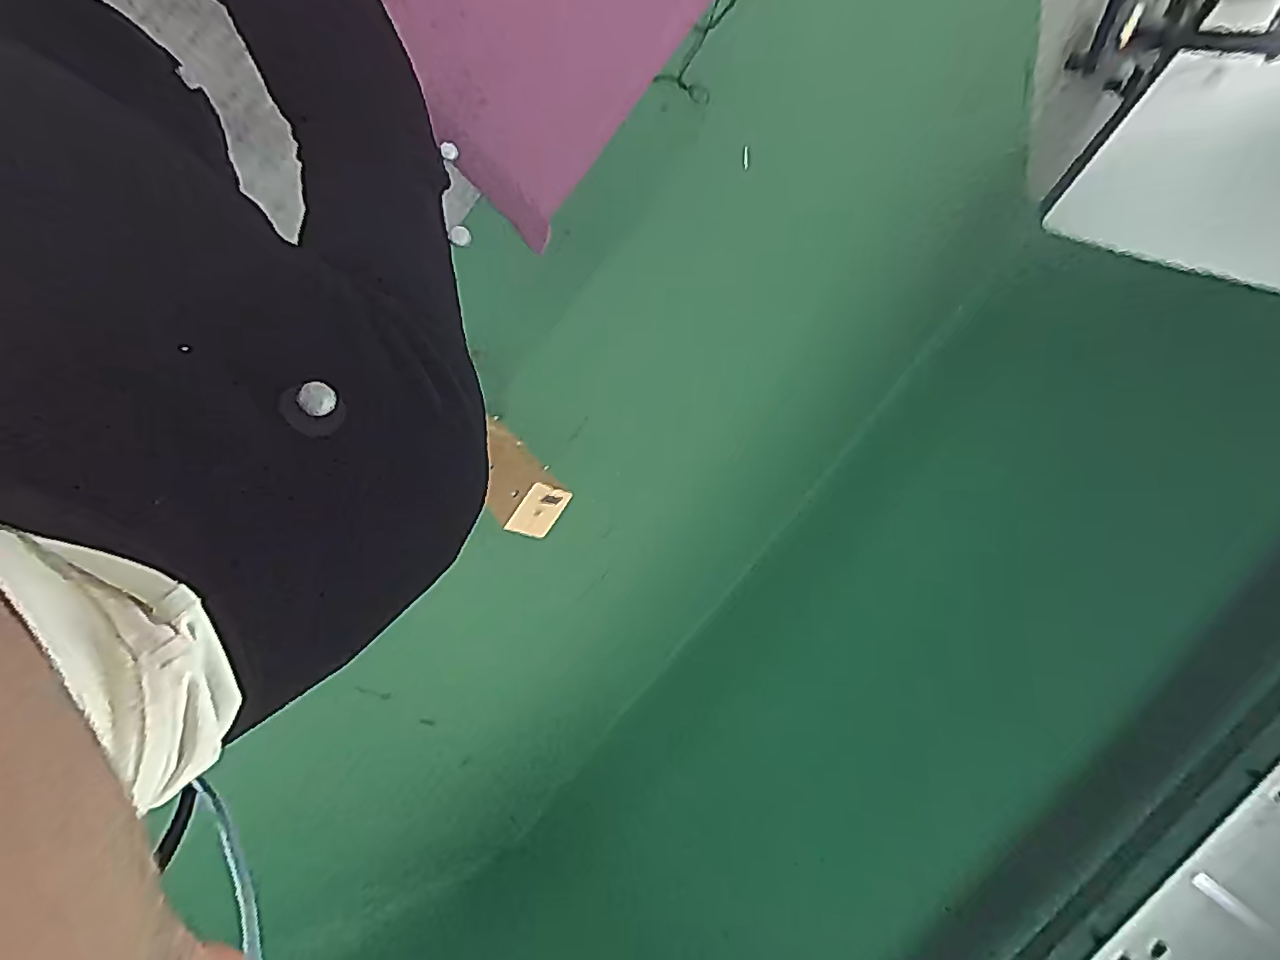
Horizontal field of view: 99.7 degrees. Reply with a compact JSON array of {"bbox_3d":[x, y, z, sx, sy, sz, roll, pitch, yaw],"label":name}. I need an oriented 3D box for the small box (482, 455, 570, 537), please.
[{"bbox_3d":[-0.360,0.048,1.686,0.179,0.176,0.168,-54,142,8],"label":"small box"}]

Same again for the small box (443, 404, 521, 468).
[{"bbox_3d":[-0.556,-0.131,1.877,0.179,0.176,0.168,-51,143,4],"label":"small box"}]

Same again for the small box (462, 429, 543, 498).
[{"bbox_3d":[-0.462,-0.038,1.783,0.179,0.176,0.168,-54,143,5],"label":"small box"}]
